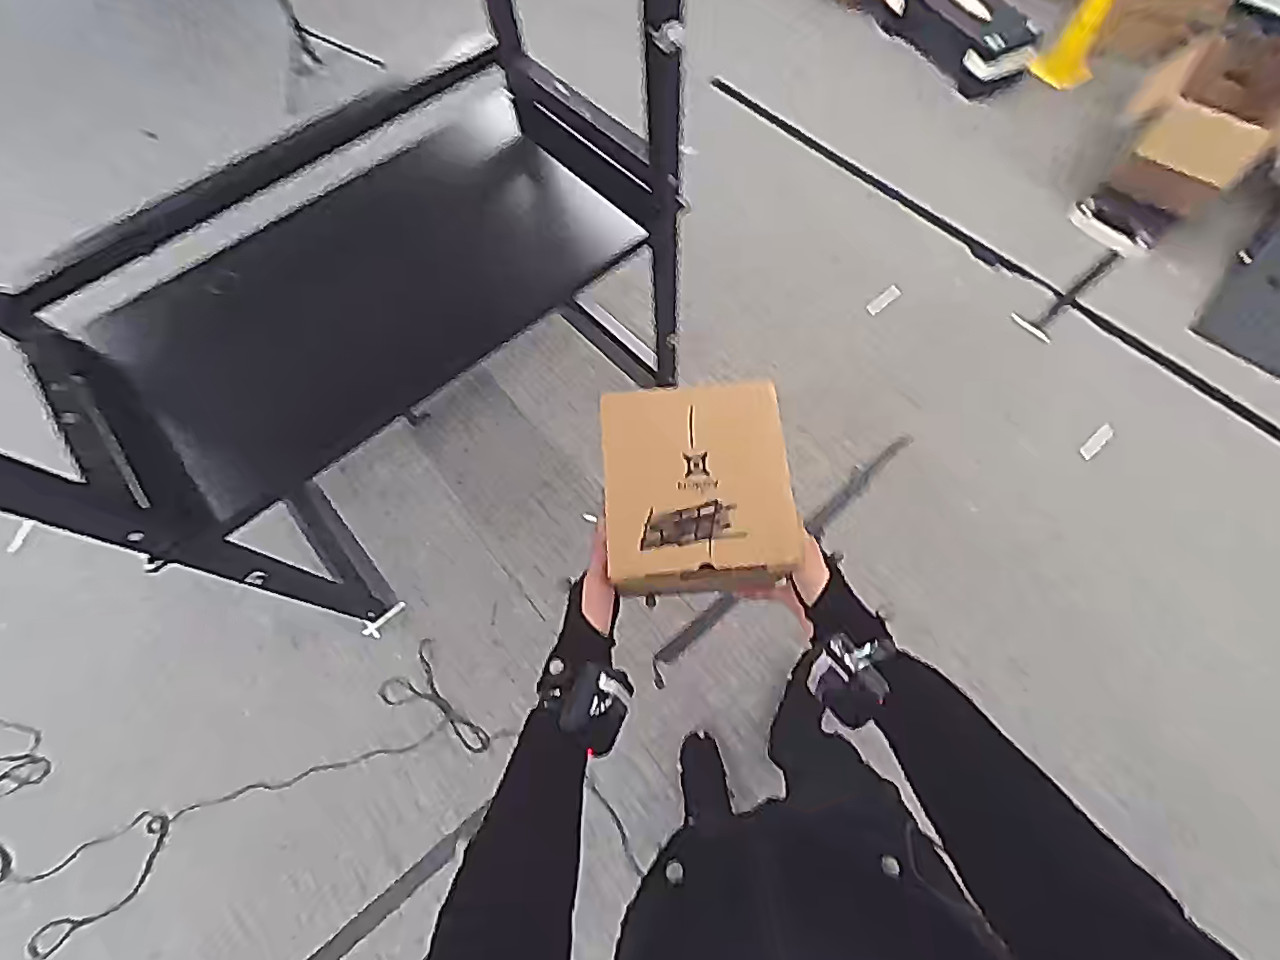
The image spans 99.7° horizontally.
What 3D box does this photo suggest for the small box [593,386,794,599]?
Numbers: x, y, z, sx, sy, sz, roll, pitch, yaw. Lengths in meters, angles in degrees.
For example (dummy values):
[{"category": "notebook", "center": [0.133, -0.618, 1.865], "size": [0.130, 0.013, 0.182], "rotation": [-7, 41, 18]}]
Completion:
[{"category": "small box", "center": [0.047, 0.025, 0.552], "size": [0.168, 0.176, 0.179], "rotation": [-5, 71, 0]}]
